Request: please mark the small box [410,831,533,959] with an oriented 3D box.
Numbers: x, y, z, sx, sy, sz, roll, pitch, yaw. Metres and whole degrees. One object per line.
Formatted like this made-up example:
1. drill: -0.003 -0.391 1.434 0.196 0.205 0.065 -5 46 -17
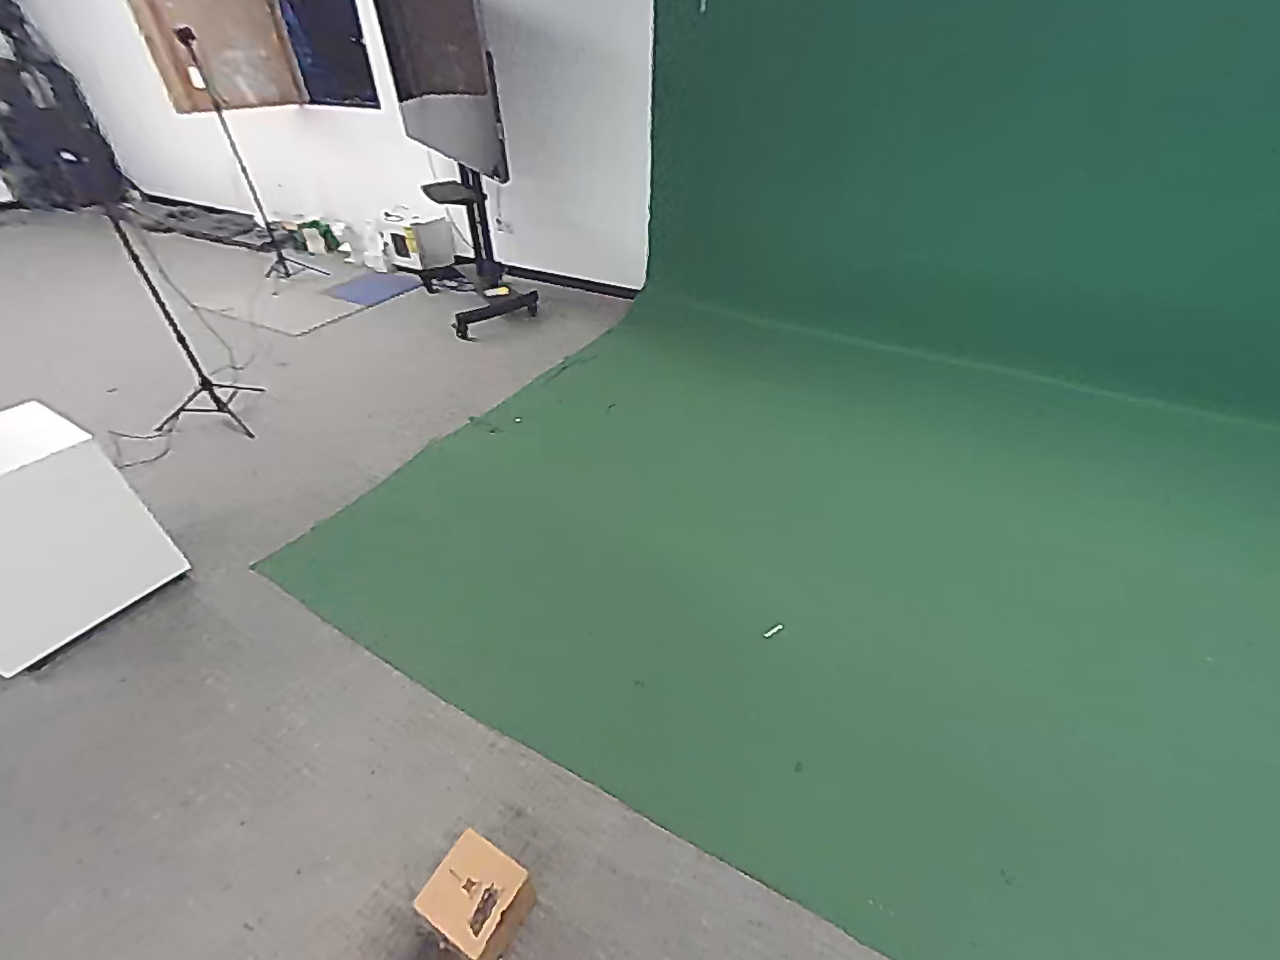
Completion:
1. small box: -0.346 0.897 1.144 0.179 0.176 0.168 20 42 23
